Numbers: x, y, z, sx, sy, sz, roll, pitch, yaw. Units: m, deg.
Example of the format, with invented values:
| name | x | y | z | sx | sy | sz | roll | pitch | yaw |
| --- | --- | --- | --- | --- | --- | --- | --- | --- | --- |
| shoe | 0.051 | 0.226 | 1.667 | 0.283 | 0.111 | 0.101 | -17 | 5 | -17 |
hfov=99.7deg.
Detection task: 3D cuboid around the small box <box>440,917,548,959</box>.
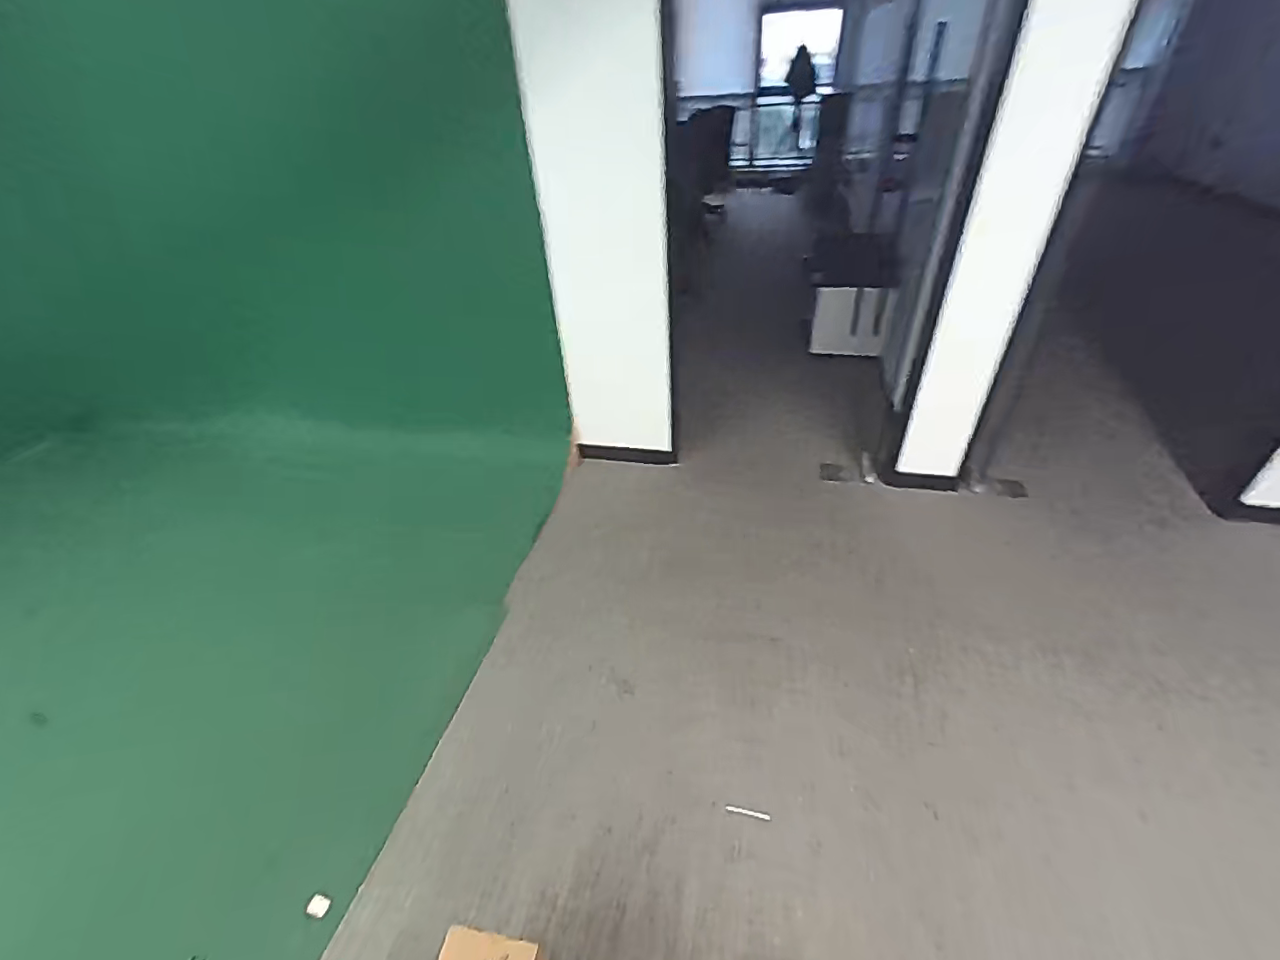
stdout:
| name | x | y | z | sx | sy | sz | roll | pitch | yaw |
| --- | --- | --- | --- | --- | --- | --- | --- | --- | --- |
| small box | -0.265 | 0.910 | 0.941 | 0.168 | 0.176 | 0.179 | 6 | 39 | 11 |
